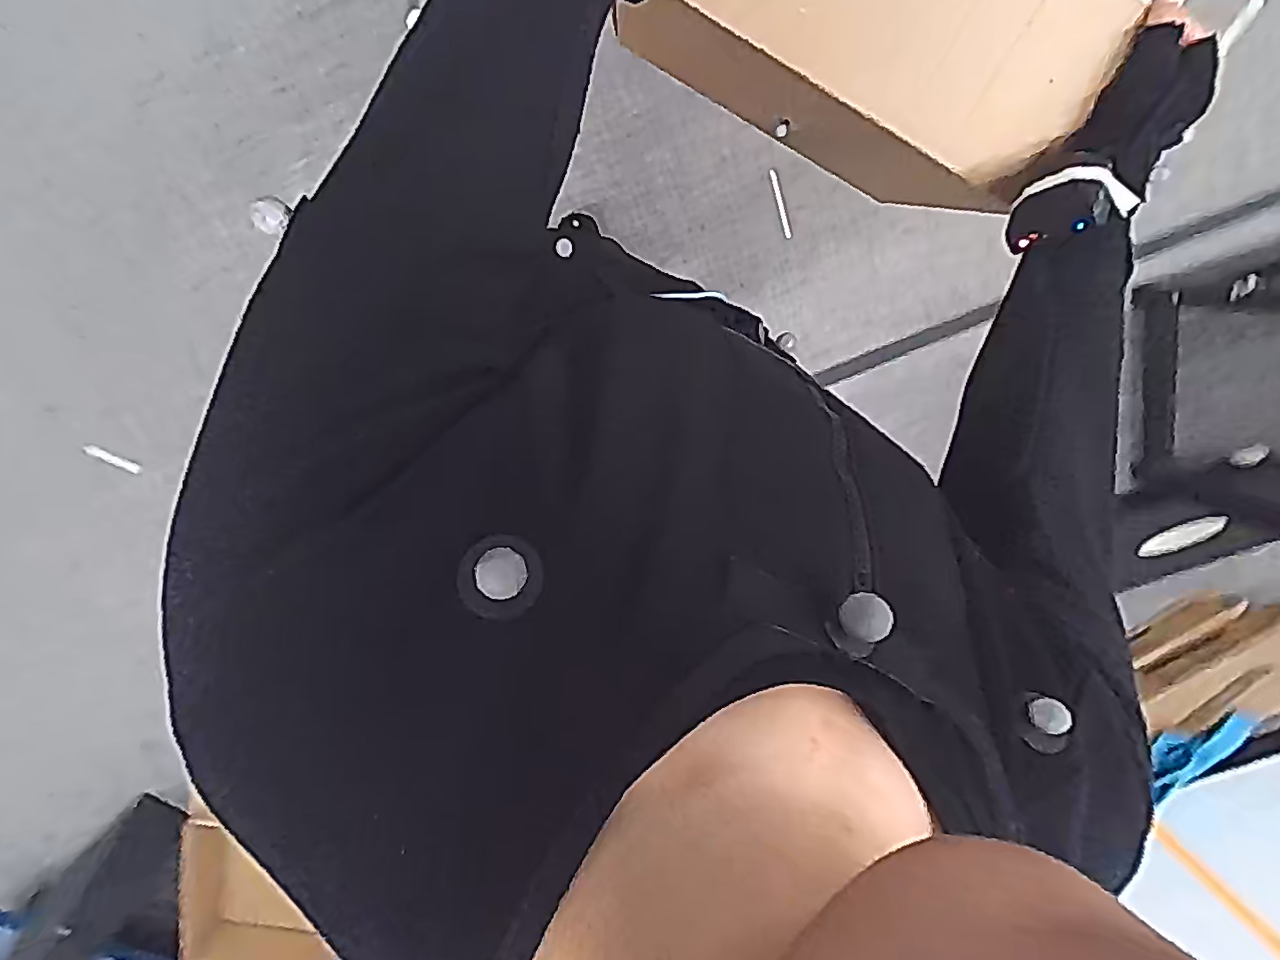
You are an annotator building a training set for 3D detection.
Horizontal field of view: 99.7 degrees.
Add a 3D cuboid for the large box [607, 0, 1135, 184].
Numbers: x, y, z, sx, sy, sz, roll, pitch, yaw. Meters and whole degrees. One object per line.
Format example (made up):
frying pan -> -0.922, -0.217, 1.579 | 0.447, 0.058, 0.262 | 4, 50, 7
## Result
large box -> 0.208, -0.521, 0.501 | 0.408, 0.320, 0.320 | 21, 116, -12
